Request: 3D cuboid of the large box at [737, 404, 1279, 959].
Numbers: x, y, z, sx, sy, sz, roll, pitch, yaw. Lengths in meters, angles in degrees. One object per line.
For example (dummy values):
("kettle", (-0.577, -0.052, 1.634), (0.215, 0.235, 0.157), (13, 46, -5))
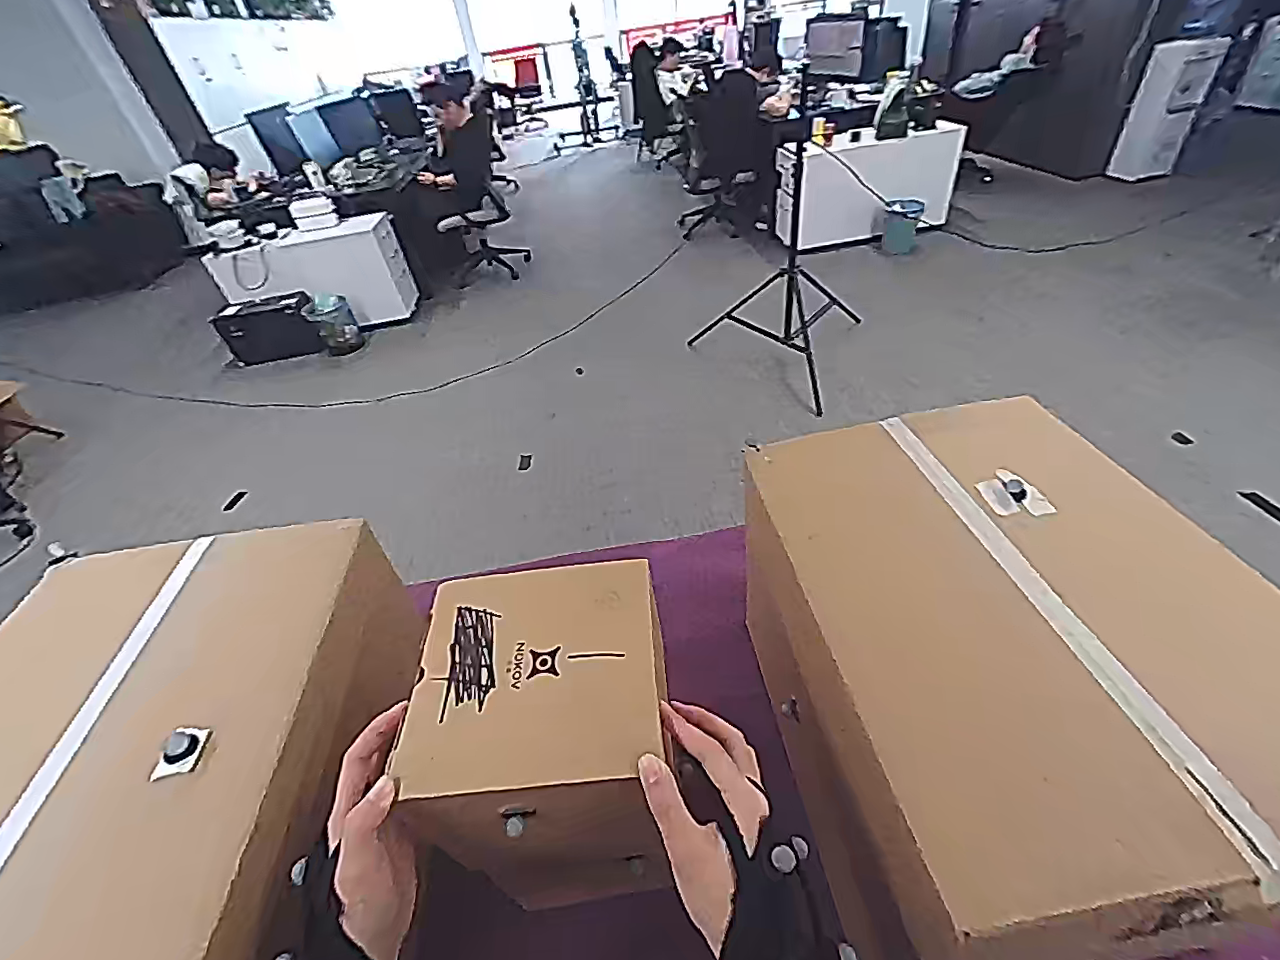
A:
("large box", (0.299, 0.183, 0.512), (0.320, 0.320, 0.408), (-10, 39, -2))
